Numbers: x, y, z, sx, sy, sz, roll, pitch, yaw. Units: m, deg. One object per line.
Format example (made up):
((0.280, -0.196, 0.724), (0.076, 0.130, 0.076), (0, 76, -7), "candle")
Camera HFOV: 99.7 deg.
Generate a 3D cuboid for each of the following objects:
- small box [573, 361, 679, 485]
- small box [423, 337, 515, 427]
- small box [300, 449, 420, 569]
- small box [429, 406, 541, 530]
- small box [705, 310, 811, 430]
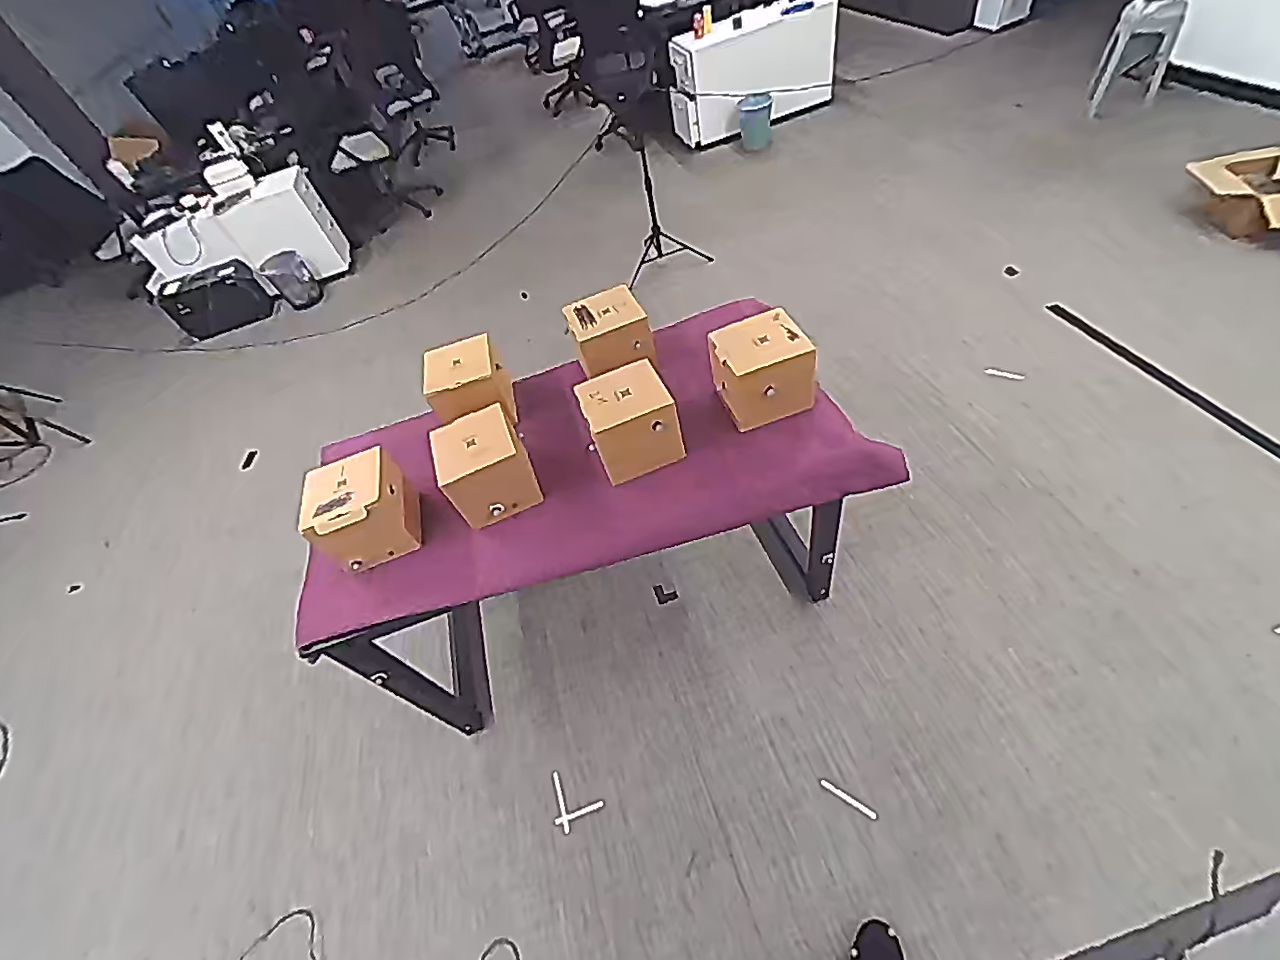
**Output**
((-0.024, -0.120, 1.170), (0.179, 0.176, 0.168), (-23, 49, -3), "small box")
((-0.425, -0.223, 1.355), (0.168, 0.176, 0.179), (-18, 50, -1), "small box")
((-0.592, 0.070, 1.163), (0.168, 0.176, 0.179), (-22, 48, -4), "small box")
((-0.335, -0.024, 1.175), (0.168, 0.176, 0.179), (-25, 50, -4), "small box")
((0.261, -0.237, 1.190), (0.179, 0.176, 0.168), (-20, 50, 0), "small box")
